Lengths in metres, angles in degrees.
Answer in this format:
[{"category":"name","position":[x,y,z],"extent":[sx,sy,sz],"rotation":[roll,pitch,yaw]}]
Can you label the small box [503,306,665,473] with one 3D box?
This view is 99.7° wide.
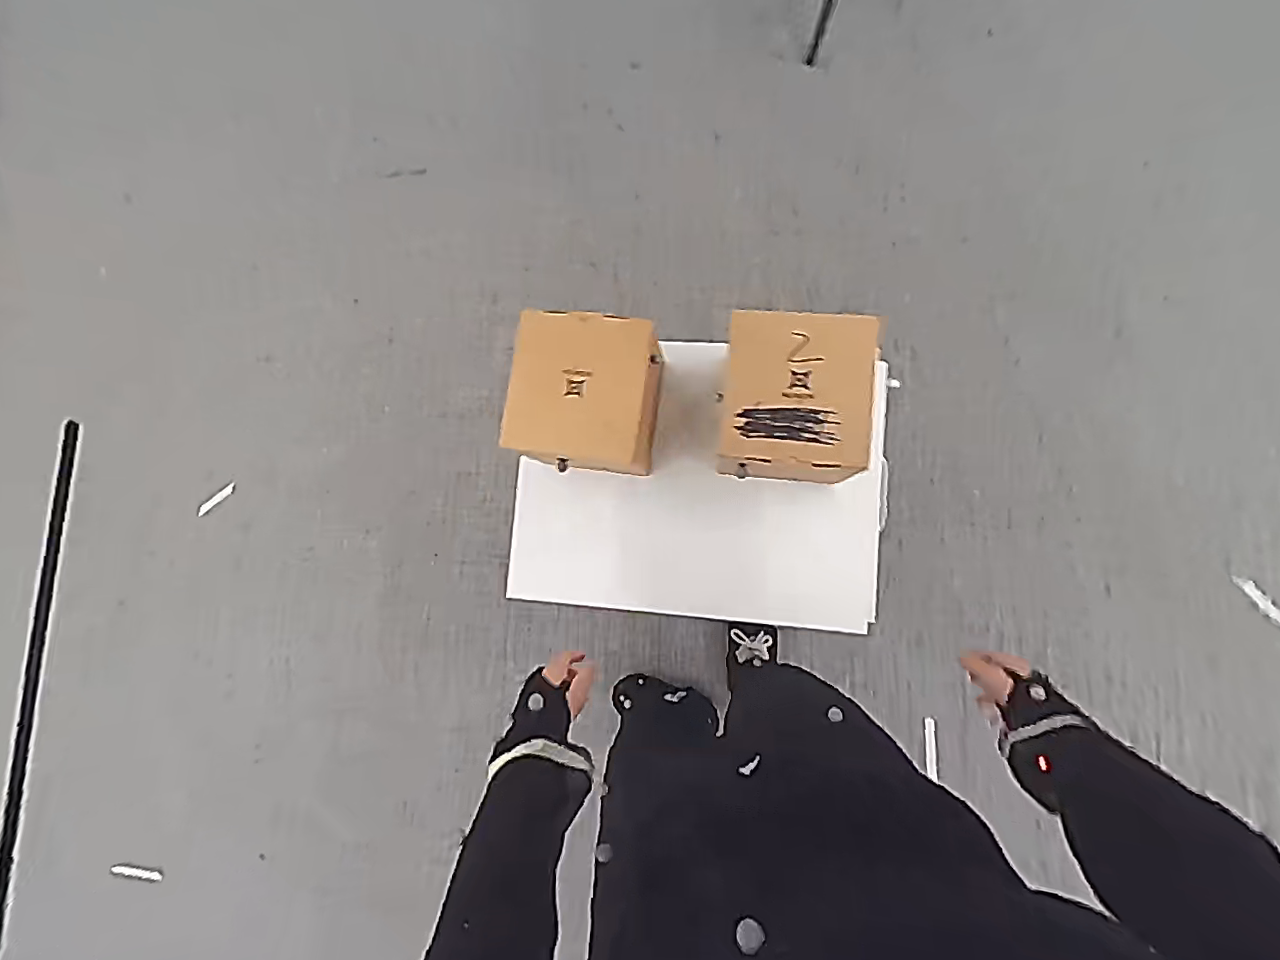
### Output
[{"category":"small box","position":[-0.062,-0.109,0.719],"extent":[0.168,0.176,0.179],"rotation":[8,85,8]}]
